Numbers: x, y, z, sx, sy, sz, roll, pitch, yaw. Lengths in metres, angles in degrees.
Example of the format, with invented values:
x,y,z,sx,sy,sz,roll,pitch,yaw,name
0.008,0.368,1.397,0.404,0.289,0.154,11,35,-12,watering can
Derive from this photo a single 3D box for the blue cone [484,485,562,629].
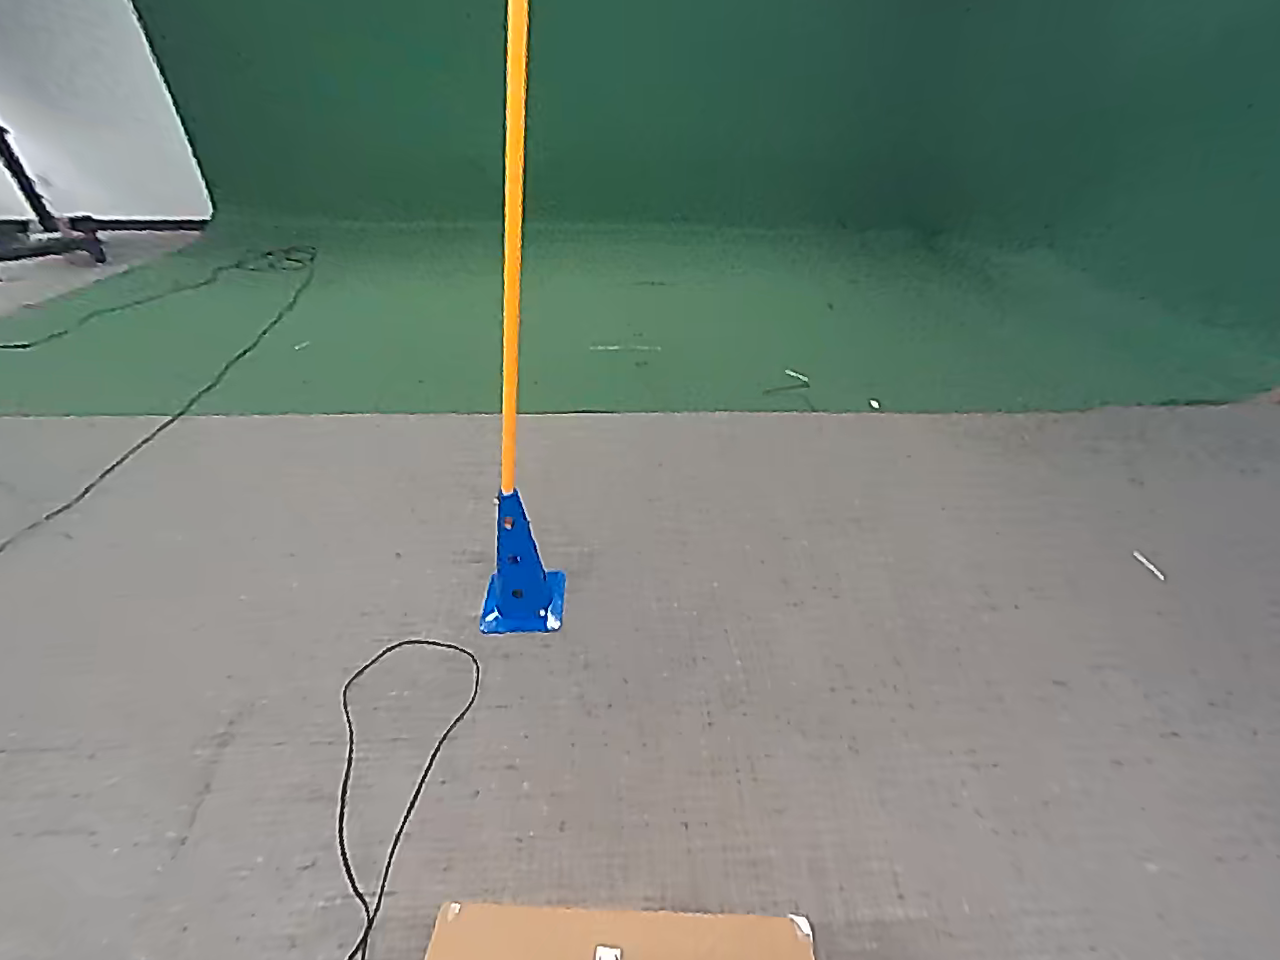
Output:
x,y,z,sx,sy,sz,roll,pitch,yaw,name
-0.285,0.165,1.276,0.193,0.380,0.192,-1,36,-6,blue cone
